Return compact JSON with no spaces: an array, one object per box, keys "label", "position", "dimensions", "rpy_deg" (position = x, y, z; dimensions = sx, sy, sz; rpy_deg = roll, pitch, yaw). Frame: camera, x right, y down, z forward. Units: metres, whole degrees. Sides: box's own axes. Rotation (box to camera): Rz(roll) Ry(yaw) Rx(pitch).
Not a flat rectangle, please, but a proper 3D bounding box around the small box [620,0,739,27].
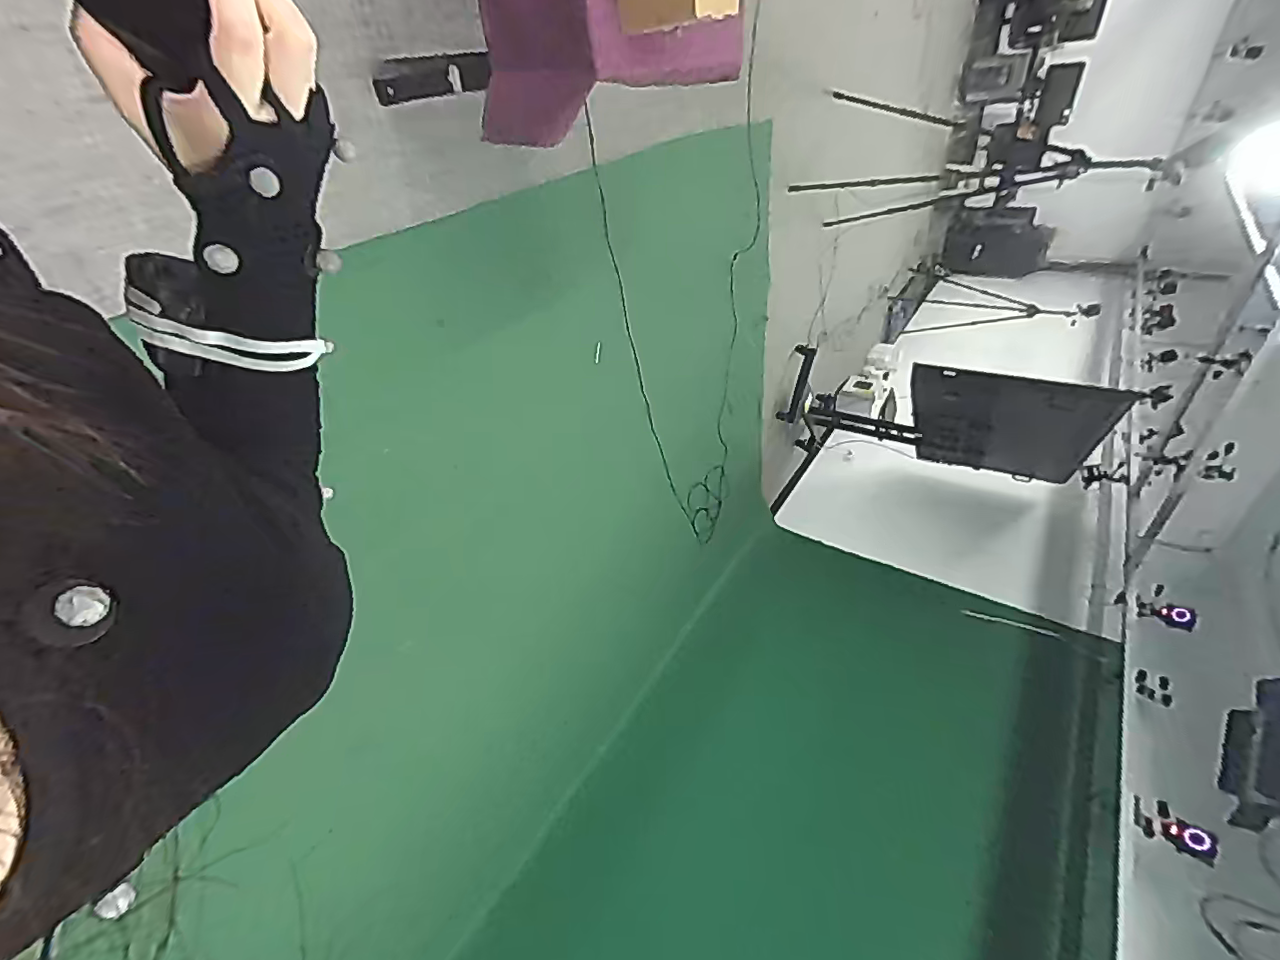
[{"label":"small box","position":[0.067,-0.943,0.980],"dimensions":[0.168,0.176,0.179],"rpy_deg":[-45,141,-38]}]
